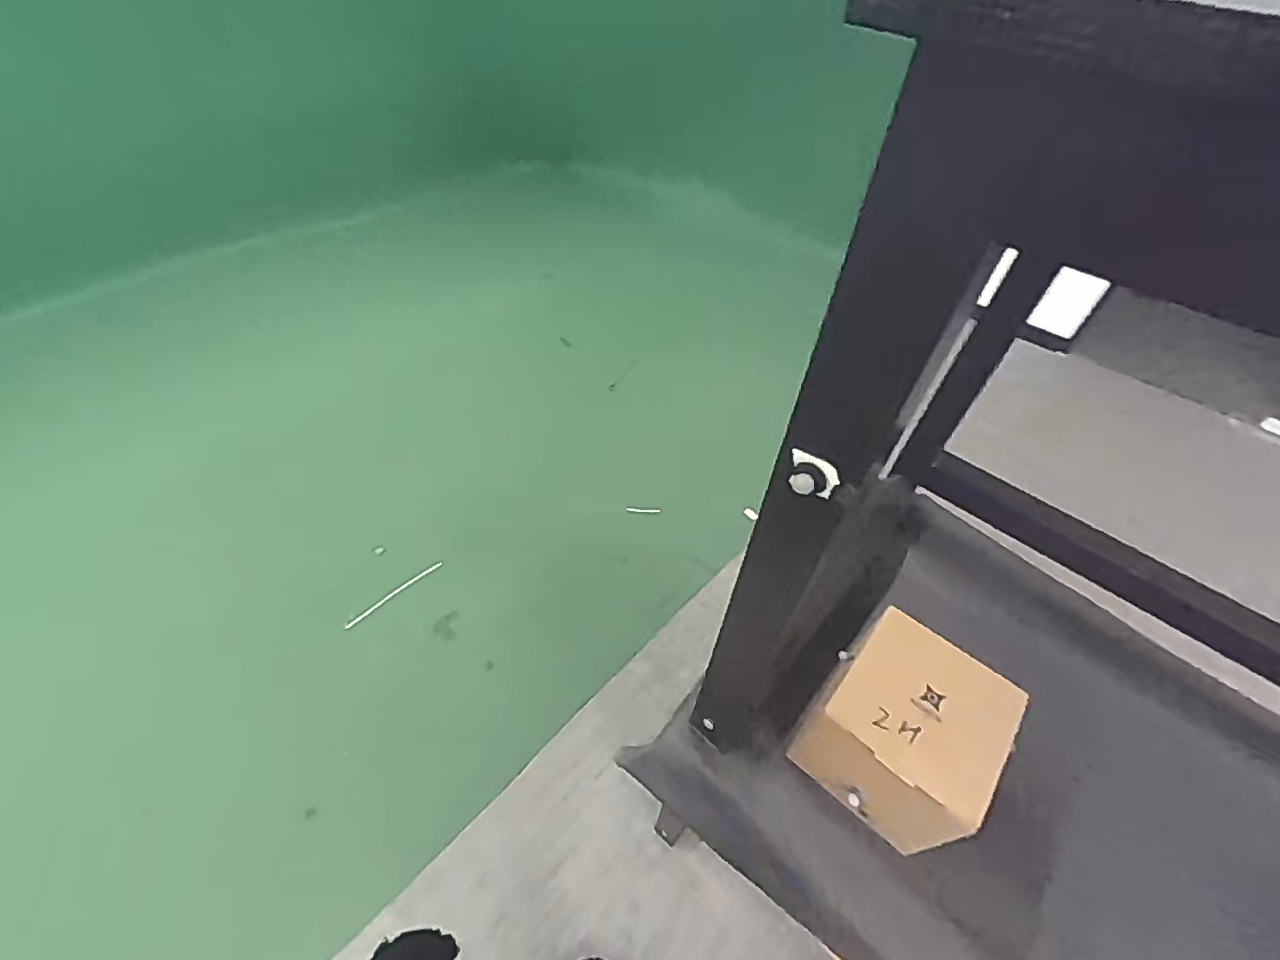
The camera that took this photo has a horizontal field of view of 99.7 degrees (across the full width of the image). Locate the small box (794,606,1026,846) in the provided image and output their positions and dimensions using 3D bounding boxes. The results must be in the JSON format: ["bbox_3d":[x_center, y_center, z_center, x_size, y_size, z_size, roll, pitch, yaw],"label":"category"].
[{"bbox_3d":[0.309,0.294,0.649,0.168,0.176,0.179,35,56,25],"label":"small box"}]
